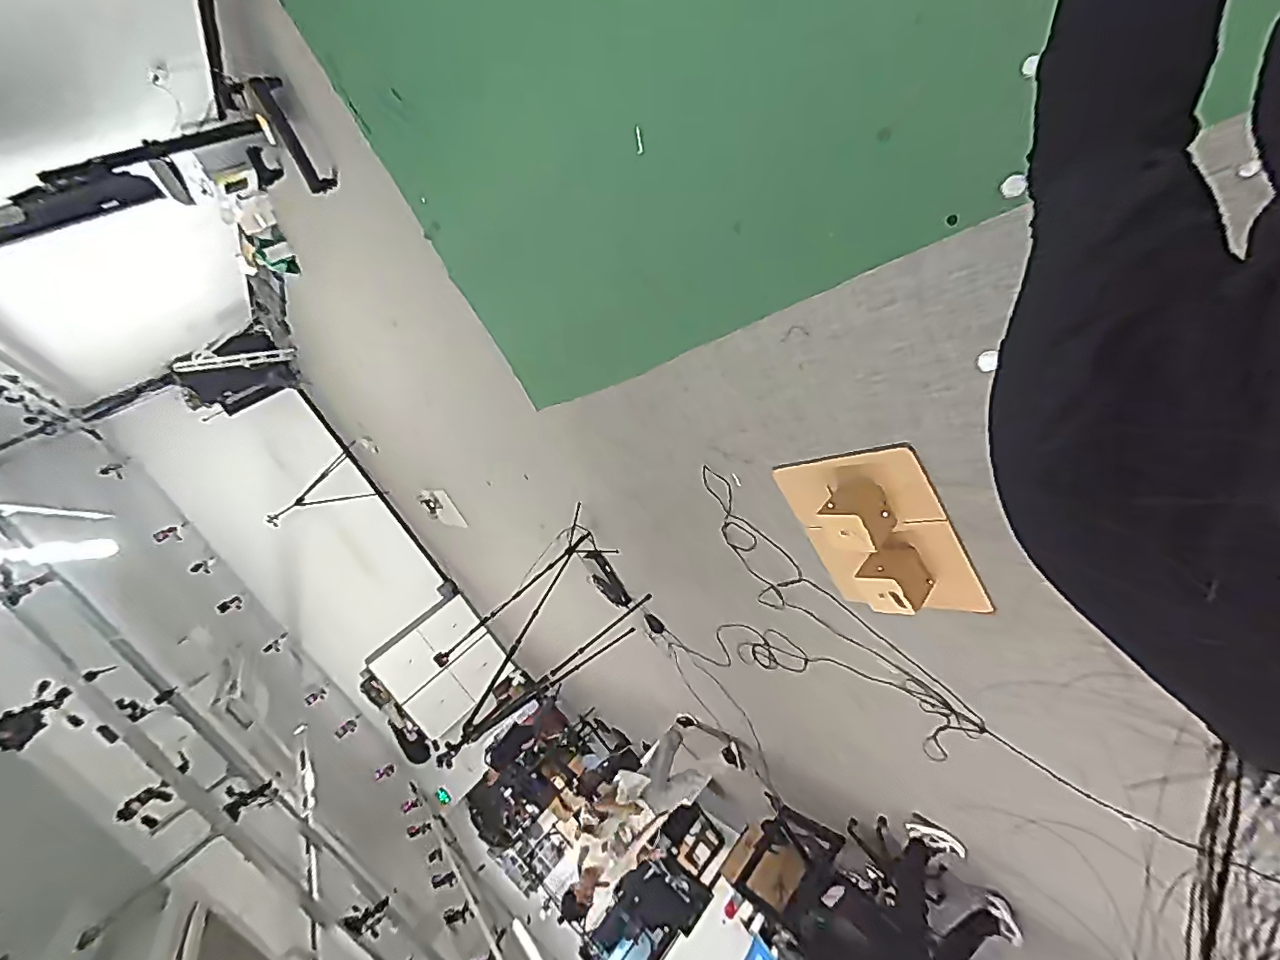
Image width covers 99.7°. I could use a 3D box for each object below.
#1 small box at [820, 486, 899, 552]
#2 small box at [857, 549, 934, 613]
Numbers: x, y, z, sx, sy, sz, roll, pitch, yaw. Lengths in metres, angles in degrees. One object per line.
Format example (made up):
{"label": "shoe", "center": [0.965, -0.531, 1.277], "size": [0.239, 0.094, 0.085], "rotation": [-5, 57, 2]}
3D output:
{"label": "small box", "center": [0.781, 0.135, 1.920], "size": [0.179, 0.176, 0.168], "rotation": [-6, 120, 55]}
{"label": "small box", "center": [0.937, 0.363, 1.966], "size": [0.168, 0.176, 0.179], "rotation": [56, 151, -11]}
